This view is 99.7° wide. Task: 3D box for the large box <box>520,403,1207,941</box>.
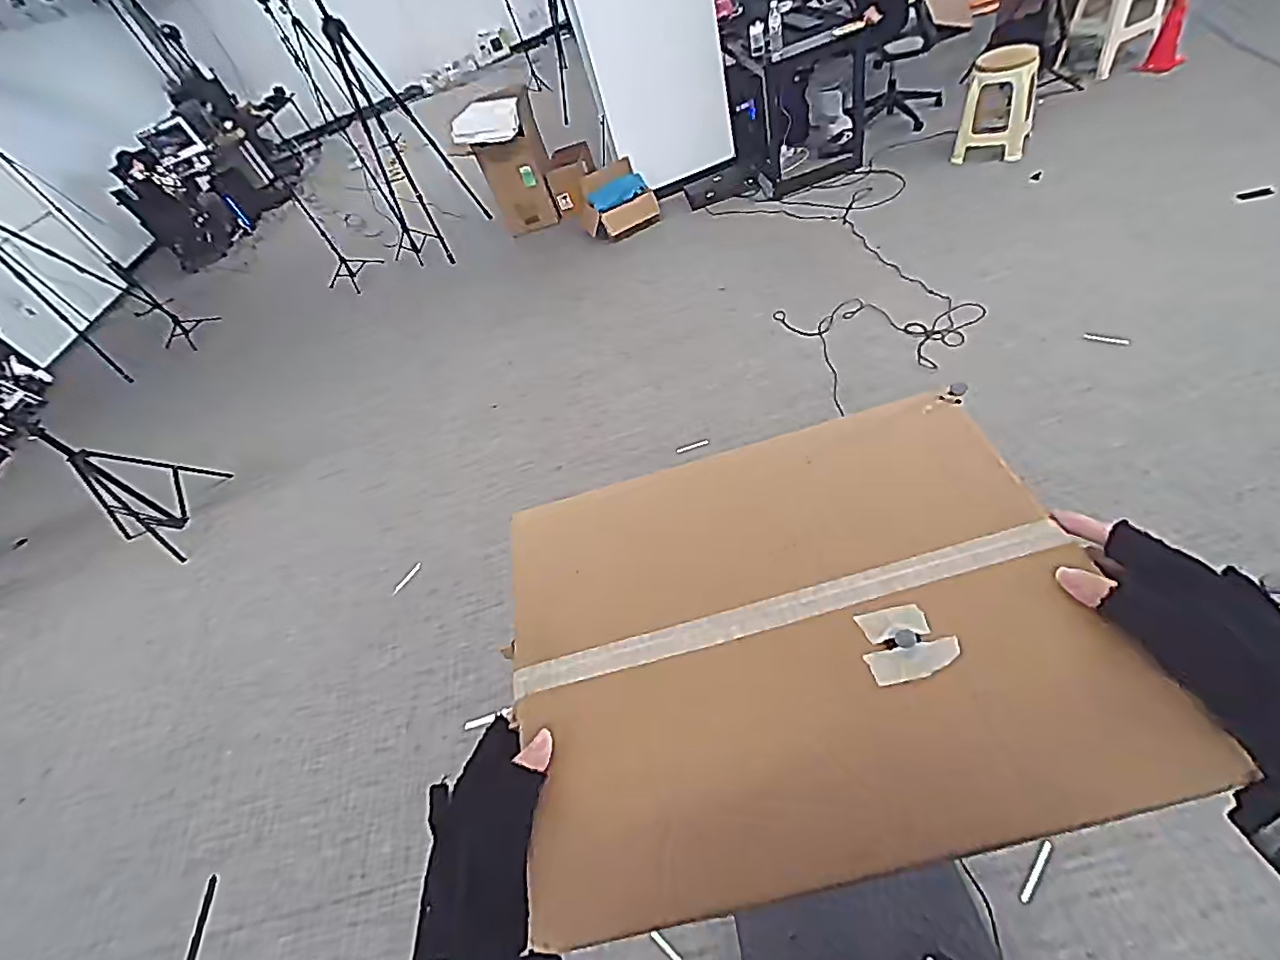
[{"bbox_3d":[0.136,0.189,0.522,0.408,0.320,0.320,-17,52,3],"label":"large box"}]
